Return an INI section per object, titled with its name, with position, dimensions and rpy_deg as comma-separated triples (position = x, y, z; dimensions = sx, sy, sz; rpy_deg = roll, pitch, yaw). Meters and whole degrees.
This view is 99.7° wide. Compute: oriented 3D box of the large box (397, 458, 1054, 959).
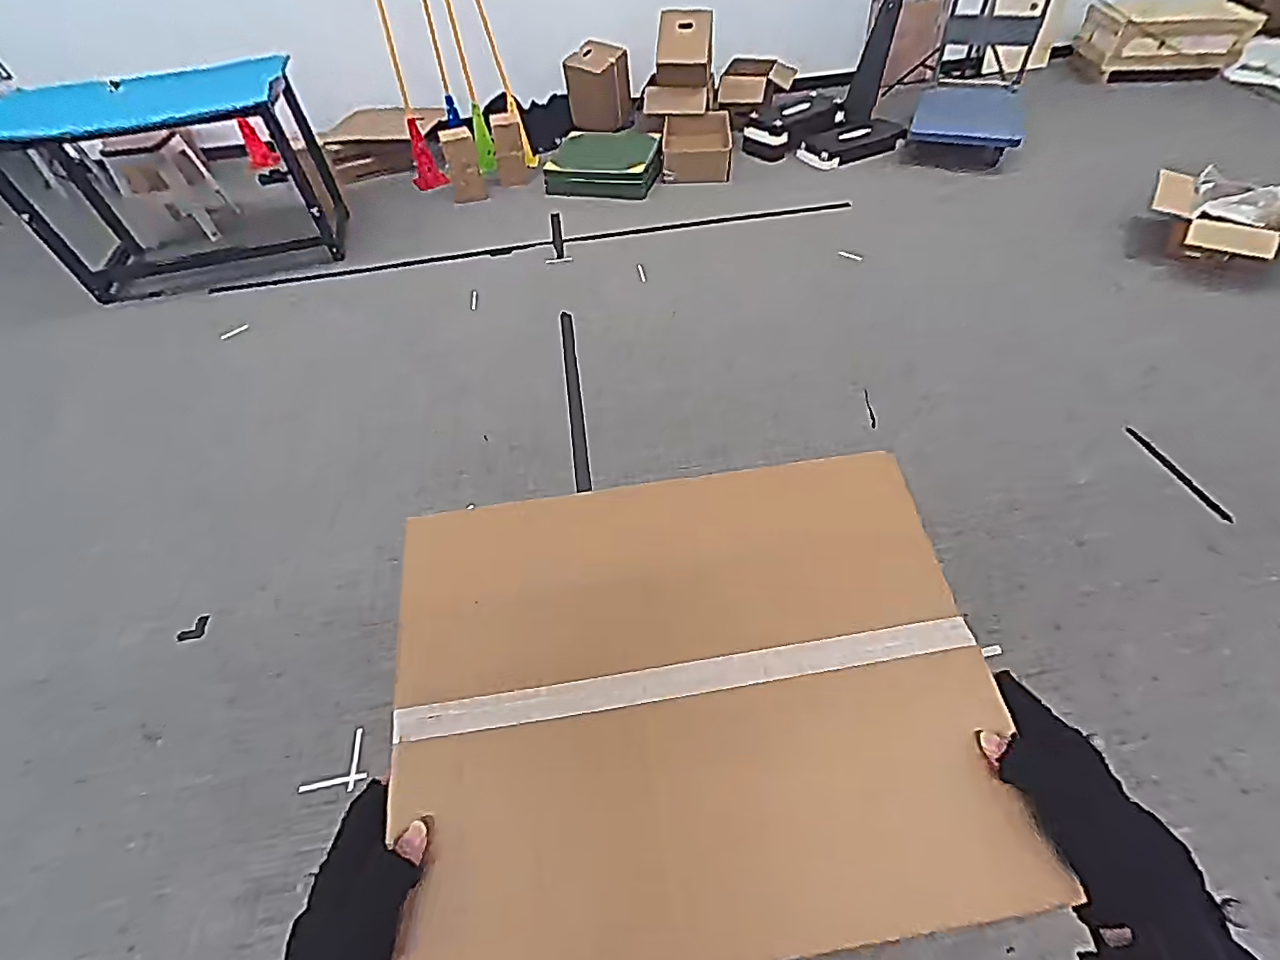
[large box]
position = 0.039, 0.213, 0.514
dimensions = 0.408, 0.320, 0.320
rpy_deg = -9, 61, -3
